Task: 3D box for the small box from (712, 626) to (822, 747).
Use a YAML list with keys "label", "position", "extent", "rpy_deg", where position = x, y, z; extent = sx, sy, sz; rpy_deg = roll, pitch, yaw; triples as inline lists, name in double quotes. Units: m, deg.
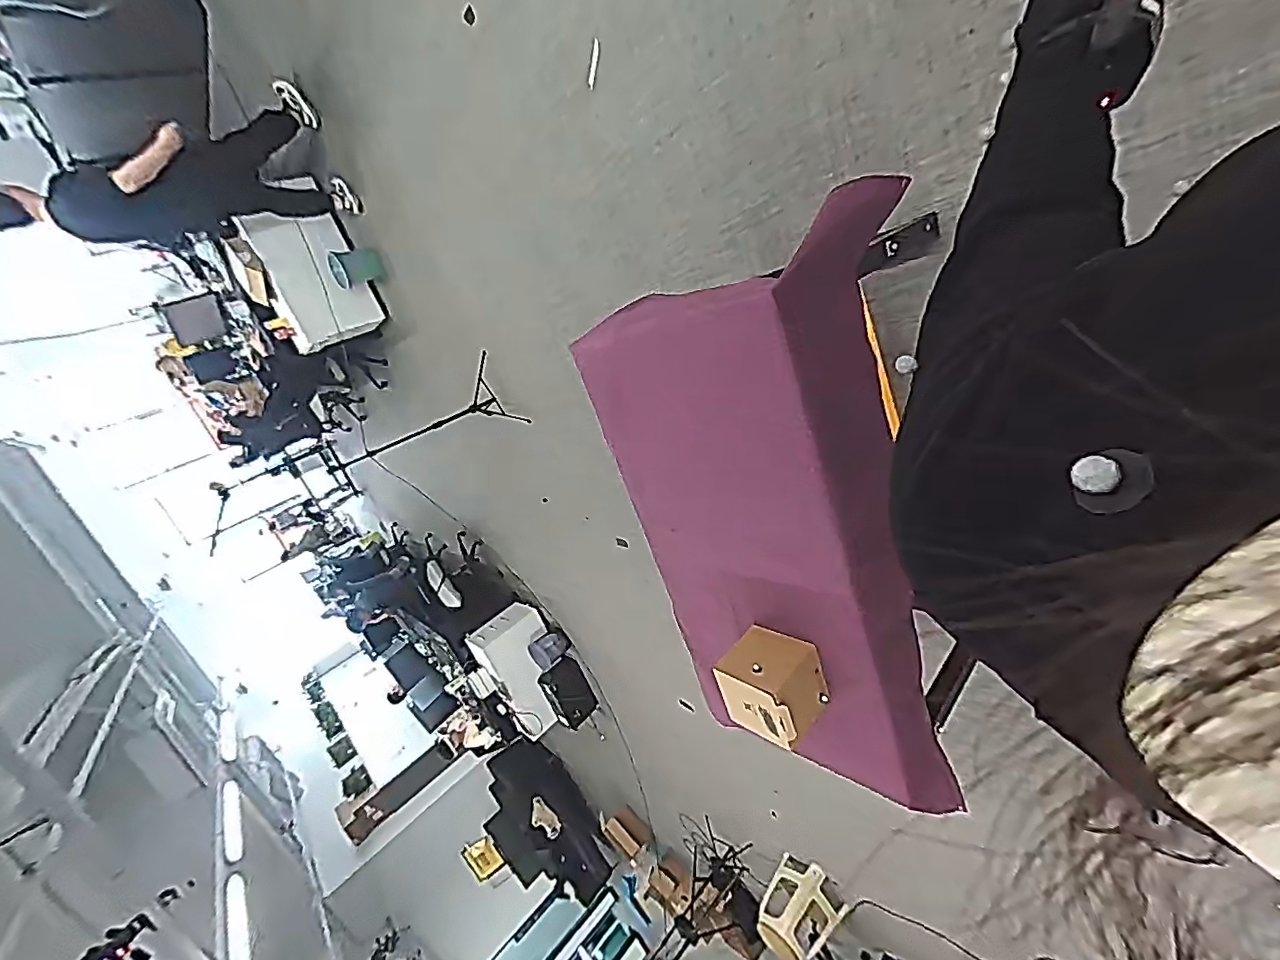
- label: "small box"
  position: [0.303, 0.467, 1.253]
  extent: [0.179, 0.176, 0.168]
  rpy_deg: [6, 122, 50]
